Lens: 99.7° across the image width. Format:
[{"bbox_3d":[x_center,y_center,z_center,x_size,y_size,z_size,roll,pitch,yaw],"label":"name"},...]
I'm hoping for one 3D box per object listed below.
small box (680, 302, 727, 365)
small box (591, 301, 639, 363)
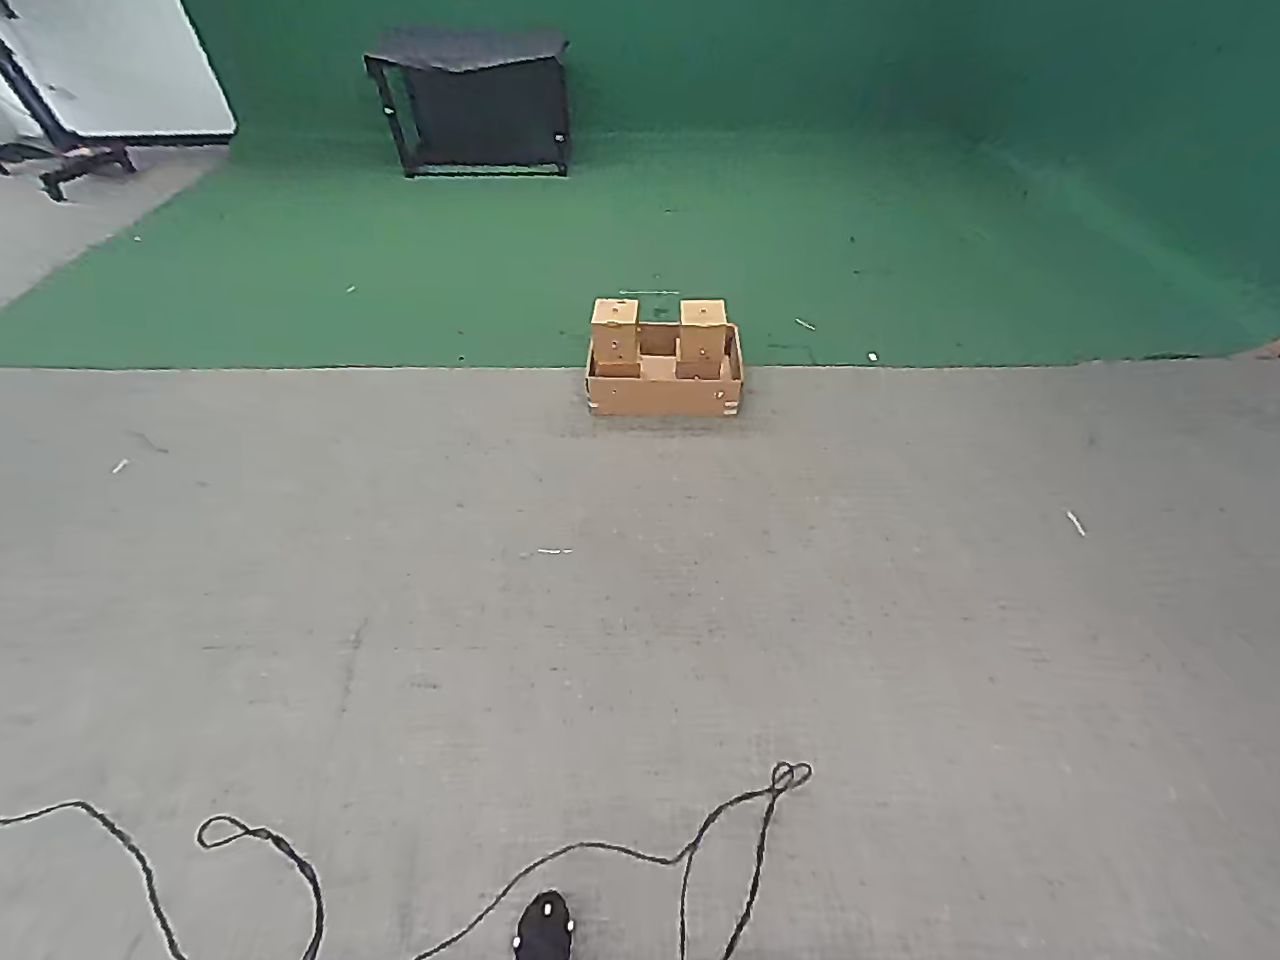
[{"bbox_3d":[0.239,-0.565,2.080,0.168,0.176,0.179,0,49,2],"label":"small box"},{"bbox_3d":[-0.092,-0.571,2.090,0.168,0.176,0.179,2,49,3],"label":"small box"}]
